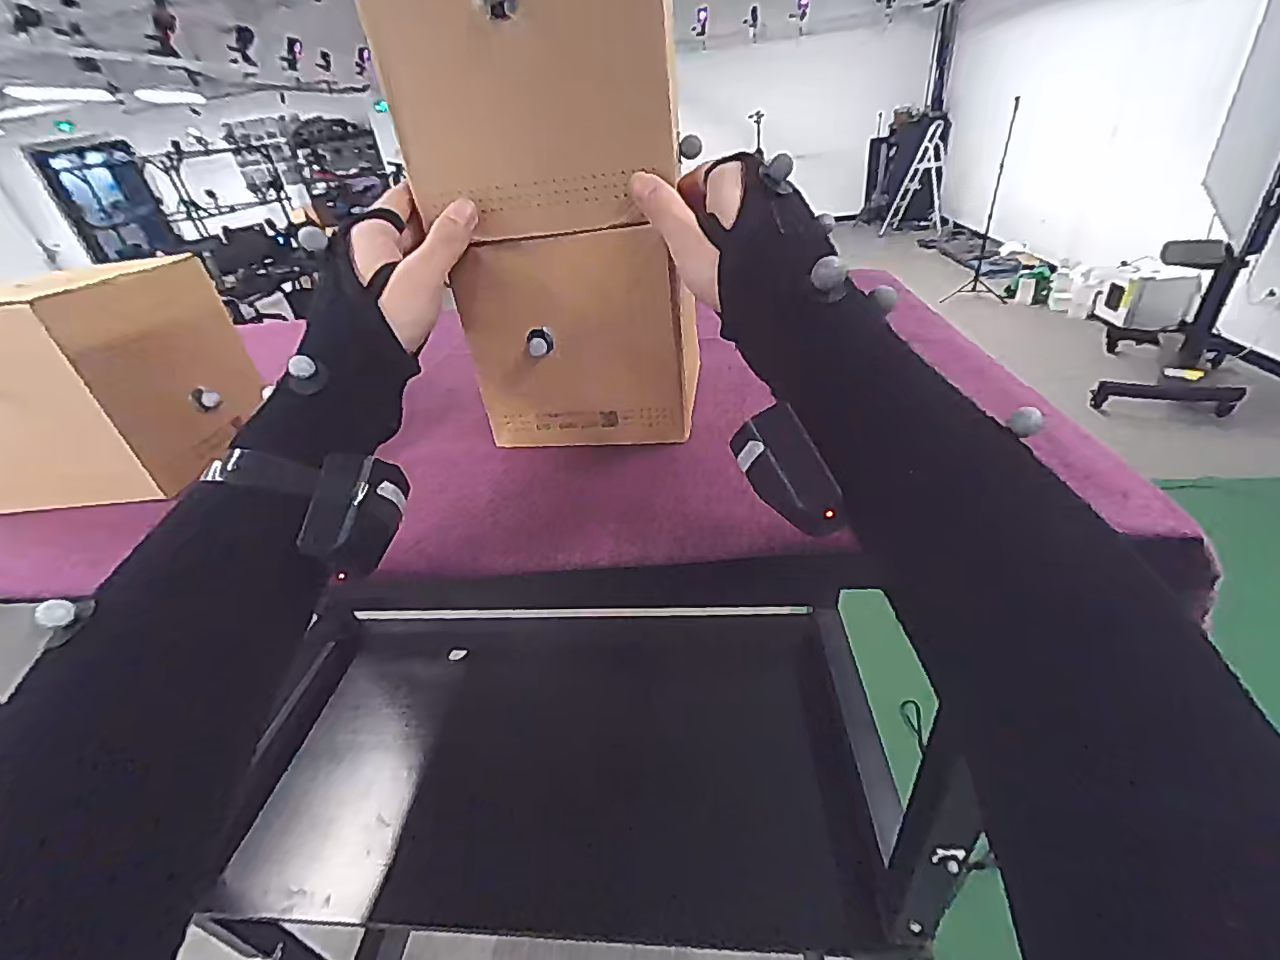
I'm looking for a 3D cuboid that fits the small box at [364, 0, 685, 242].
[{"bbox_3d":[-0.064,-0.273,0.382,0.179,0.176,0.168,-3,33,8],"label":"small box"}]

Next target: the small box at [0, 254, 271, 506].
[{"bbox_3d":[-0.487,-0.089,0.480,0.179,0.176,0.168,-5,33,4],"label":"small box"}]

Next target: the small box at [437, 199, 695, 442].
[{"bbox_3d":[-0.042,-0.141,0.475,0.168,0.176,0.179,-1,32,11],"label":"small box"}]
